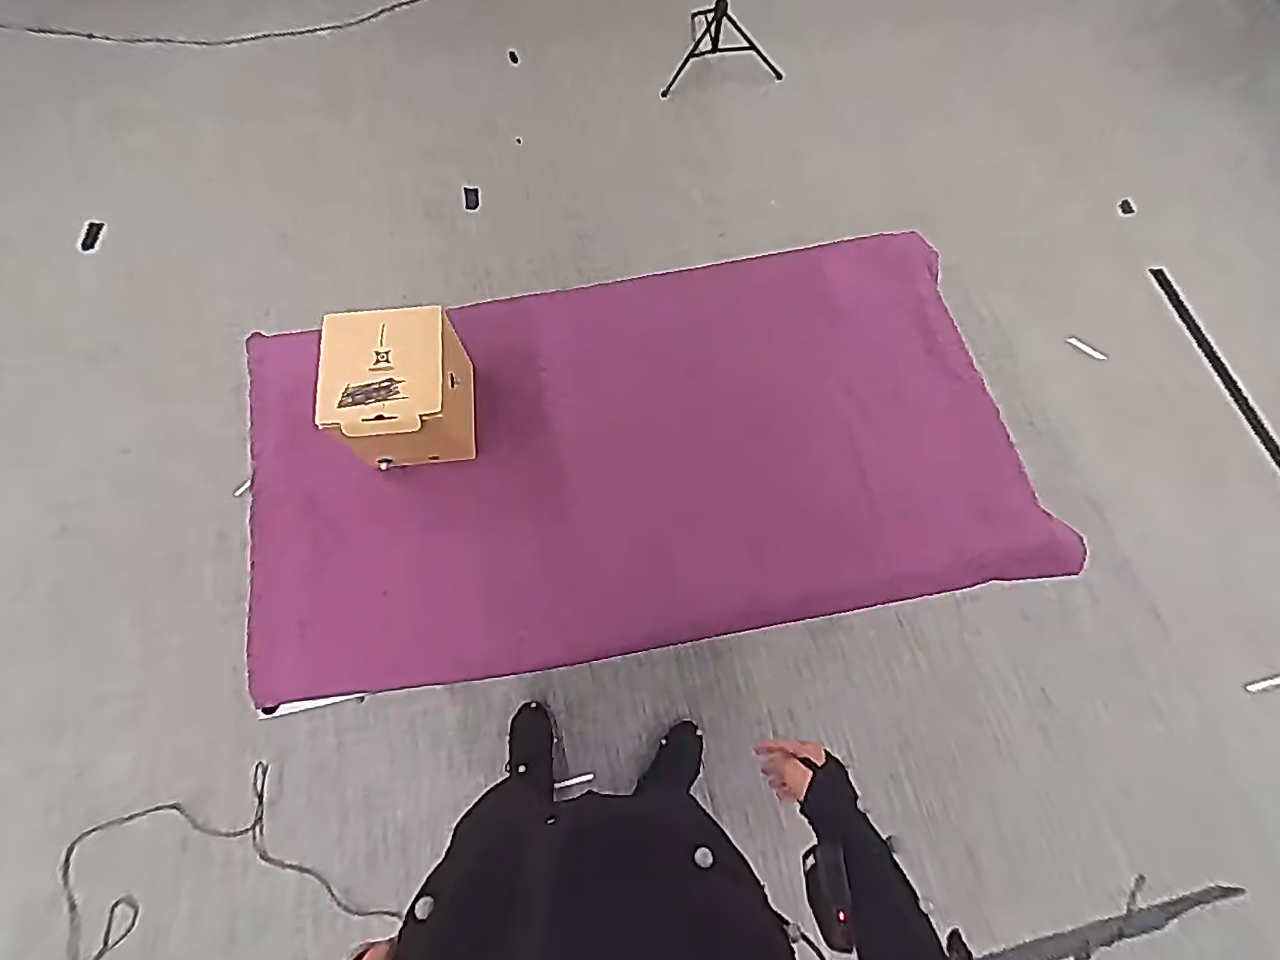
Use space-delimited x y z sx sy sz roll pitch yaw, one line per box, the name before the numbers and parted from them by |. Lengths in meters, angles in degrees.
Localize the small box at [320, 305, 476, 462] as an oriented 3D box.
small box | -0.348 -0.133 0.809 0.168 0.176 0.179 -6 72 -4
